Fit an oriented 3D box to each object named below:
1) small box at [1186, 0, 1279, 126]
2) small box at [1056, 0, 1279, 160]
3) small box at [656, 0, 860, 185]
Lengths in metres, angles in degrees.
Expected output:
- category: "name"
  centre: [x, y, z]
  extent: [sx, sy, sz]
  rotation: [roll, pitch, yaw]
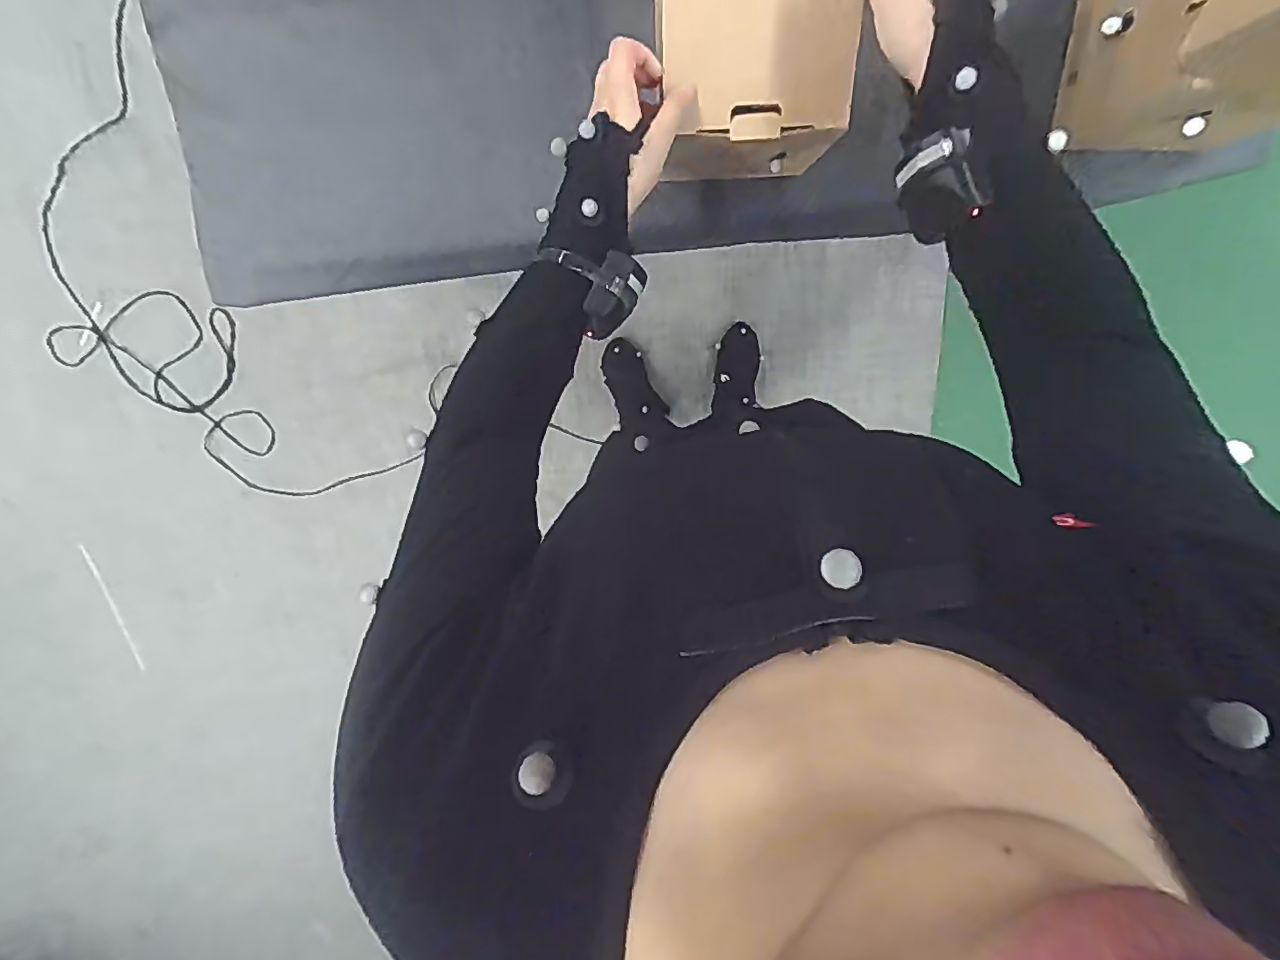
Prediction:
- category: "small box"
  centre: [0.534, -0.347, 0.344]
  extent: [0.179, 0.176, 0.168]
  rotation: [22, 106, -5]
- category: "small box"
  centre: [0.536, -0.408, 0.496]
  extent: [0.179, 0.176, 0.168]
  rotation: [2, 106, 2]
- category: "small box"
  centre: [0.100, -0.397, 0.522]
  extent: [0.168, 0.176, 0.179]
  rotation: [-1, 106, 2]
